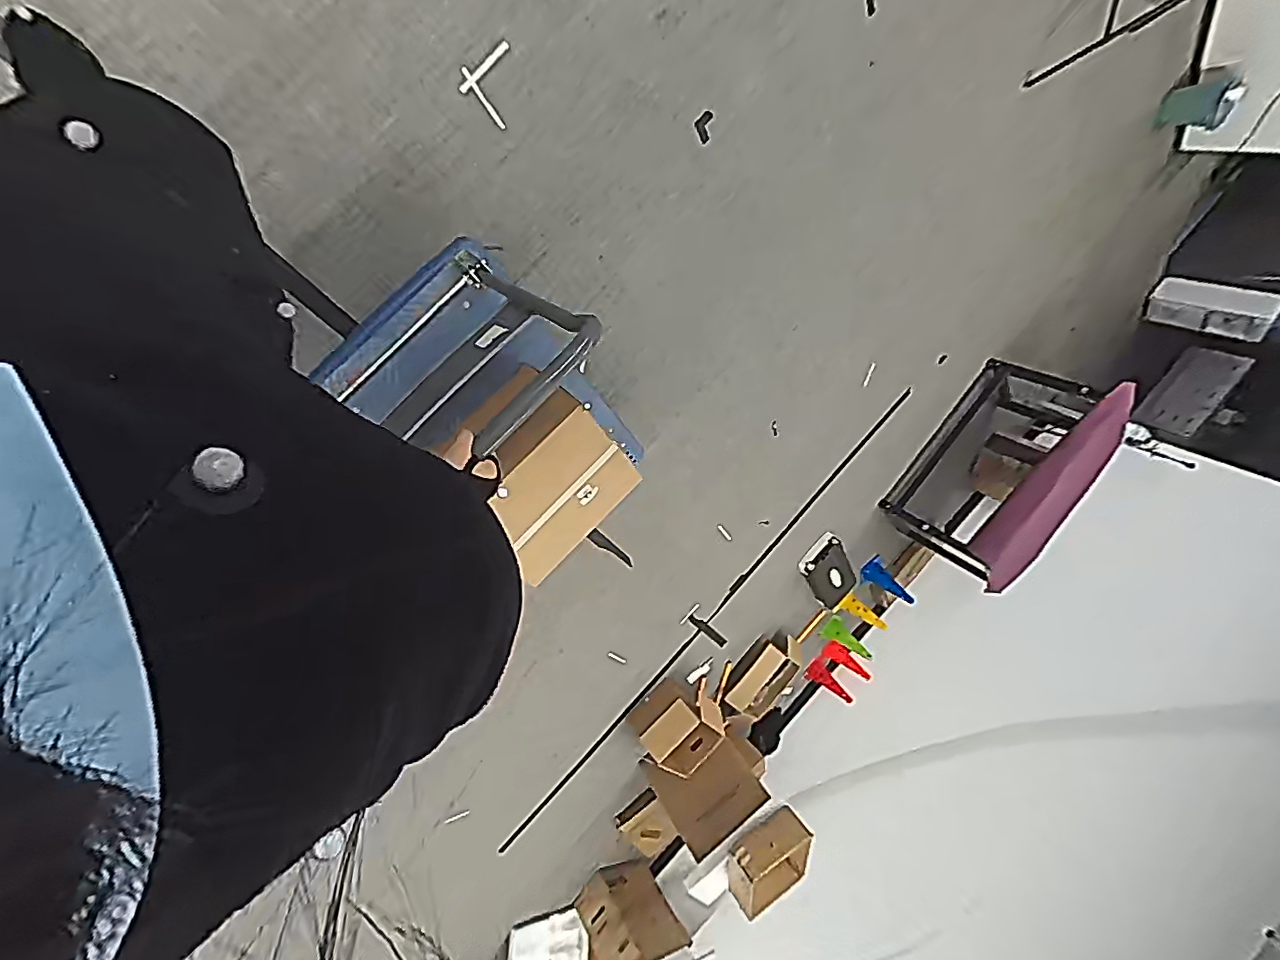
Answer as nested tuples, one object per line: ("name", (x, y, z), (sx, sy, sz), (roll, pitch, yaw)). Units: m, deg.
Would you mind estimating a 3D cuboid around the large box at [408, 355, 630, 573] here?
("large box", (-0.312, -0.046, 1.398), (0.408, 0.320, 0.320), (-46, 137, -6))
